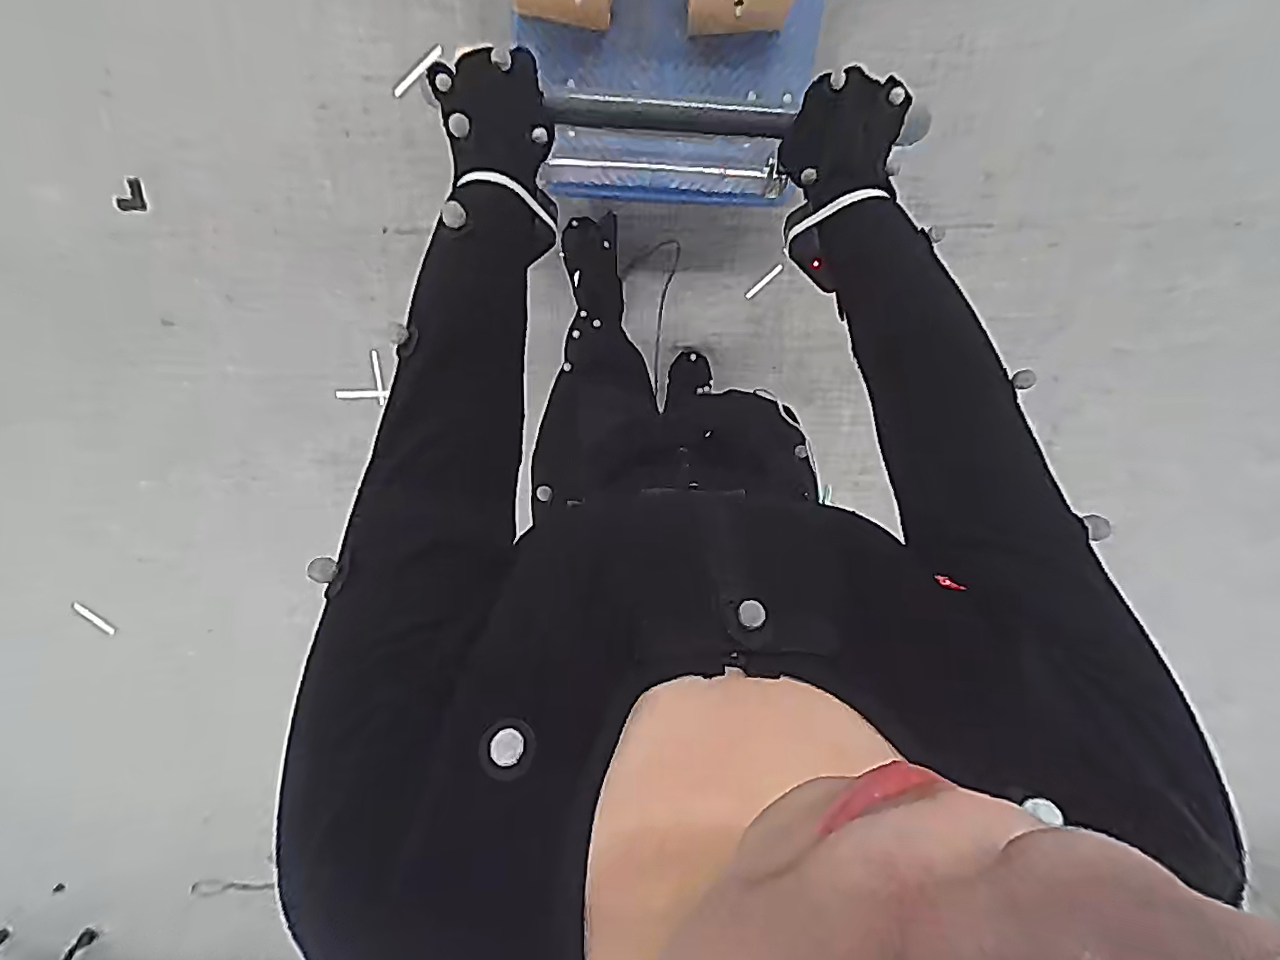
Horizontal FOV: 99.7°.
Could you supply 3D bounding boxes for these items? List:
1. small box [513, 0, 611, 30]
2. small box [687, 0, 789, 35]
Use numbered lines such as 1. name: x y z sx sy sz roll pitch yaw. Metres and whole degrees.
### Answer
1. small box: -0.134 -0.902 0.911 0.179 0.176 0.168 8 110 -5
2. small box: 0.169 -0.886 0.915 0.179 0.176 0.168 -2 111 1
